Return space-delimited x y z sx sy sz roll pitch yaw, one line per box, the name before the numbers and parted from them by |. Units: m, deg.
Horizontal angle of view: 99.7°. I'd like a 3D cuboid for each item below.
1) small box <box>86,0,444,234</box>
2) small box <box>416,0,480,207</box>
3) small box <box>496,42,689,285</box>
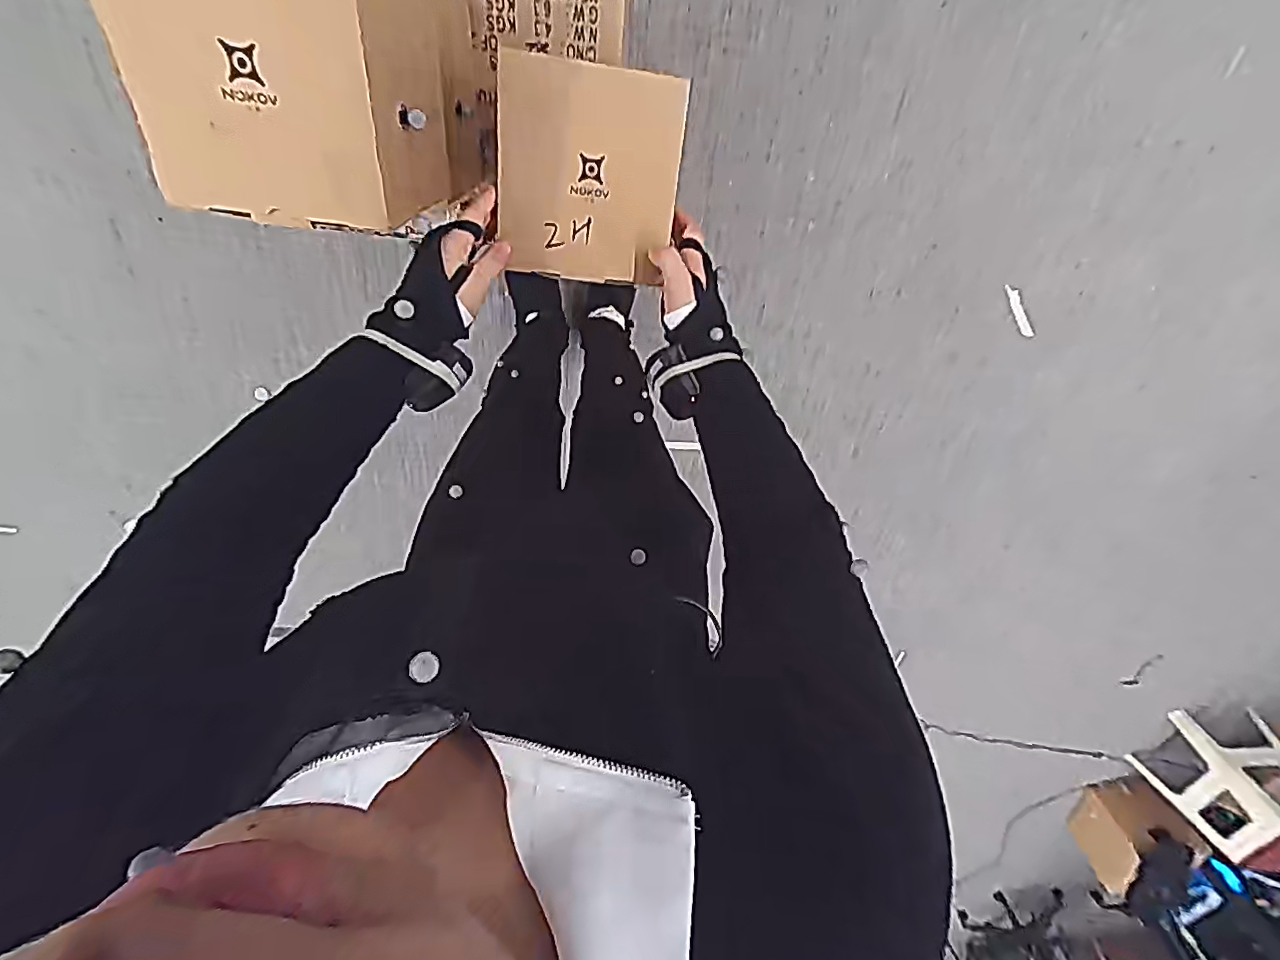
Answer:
small box | -0.261 -0.312 0.418 0.168 0.176 0.179 5 127 -5
small box | -0.270 -0.399 0.558 0.168 0.176 0.179 3 127 -3
small box | -0.058 -0.315 0.562 0.168 0.176 0.179 3 119 -9
